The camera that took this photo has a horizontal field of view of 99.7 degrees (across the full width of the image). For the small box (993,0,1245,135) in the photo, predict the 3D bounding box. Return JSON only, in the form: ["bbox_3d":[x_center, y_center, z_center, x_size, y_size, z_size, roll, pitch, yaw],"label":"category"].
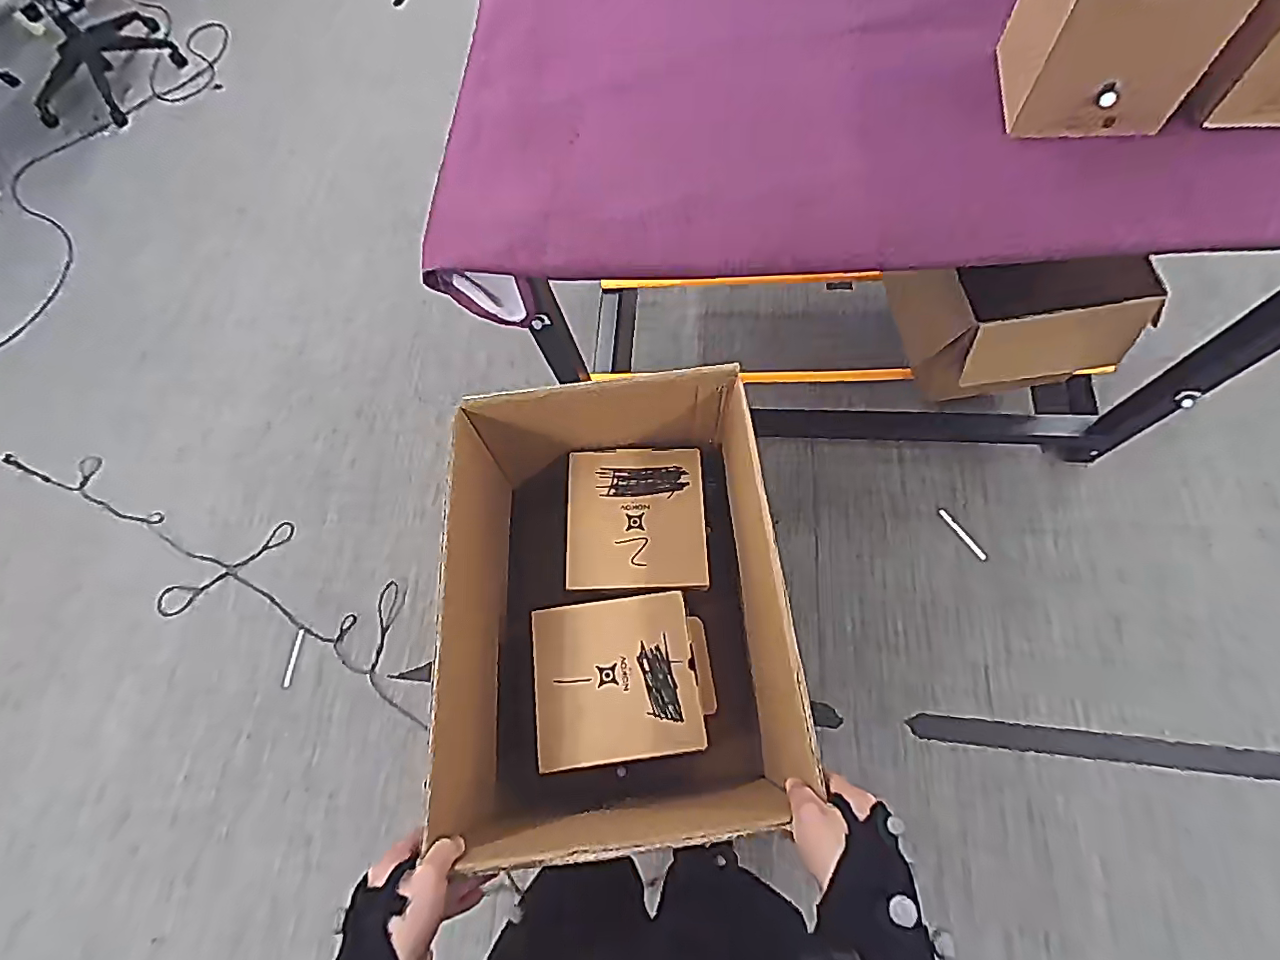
[{"bbox_3d":[0.537,-0.538,0.627,0.168,0.176,0.179,5,70,11],"label":"small box"}]

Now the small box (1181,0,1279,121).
[{"bbox_3d":[0.745,-0.533,0.593,0.168,0.176,0.179,5,70,11],"label":"small box"}]
